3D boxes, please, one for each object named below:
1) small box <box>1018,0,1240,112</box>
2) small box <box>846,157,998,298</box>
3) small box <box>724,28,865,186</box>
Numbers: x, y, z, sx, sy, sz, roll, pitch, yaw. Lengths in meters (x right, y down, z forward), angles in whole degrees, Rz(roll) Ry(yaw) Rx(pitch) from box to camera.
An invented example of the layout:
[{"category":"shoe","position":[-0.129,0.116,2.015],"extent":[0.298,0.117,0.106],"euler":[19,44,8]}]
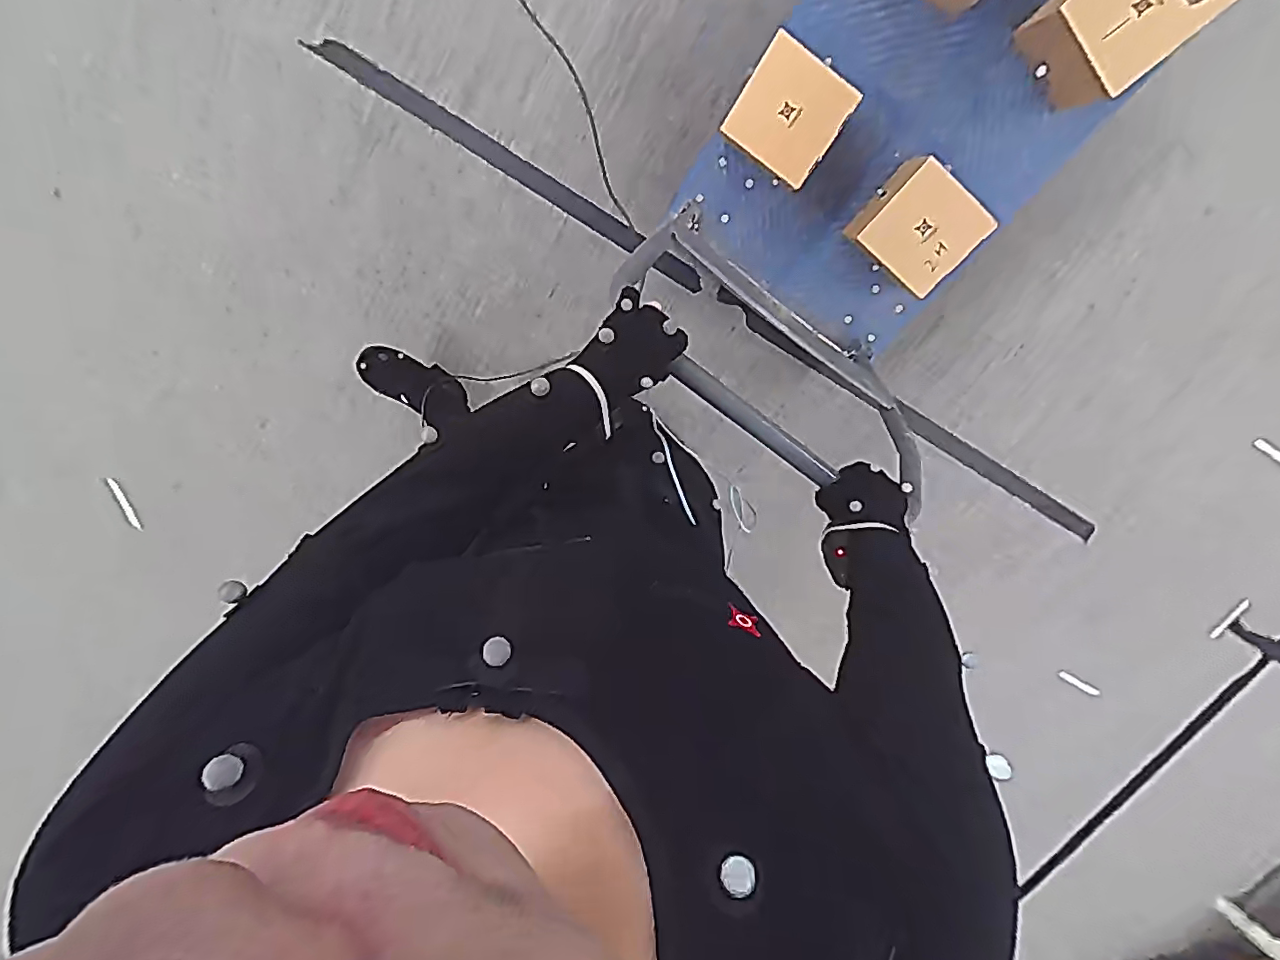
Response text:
[{"category":"small box","position":[0.758,-0.730,0.859],"extent":[0.179,0.176,0.168],"euler":[-38,106,26]},{"category":"small box","position":[0.523,-0.478,1.033],"extent":[0.179,0.176,0.168],"euler":[39,118,-10]},{"category":"small box","position":[0.268,-0.660,0.985],"extent":[0.179,0.176,0.168],"euler":[33,118,-9]}]
